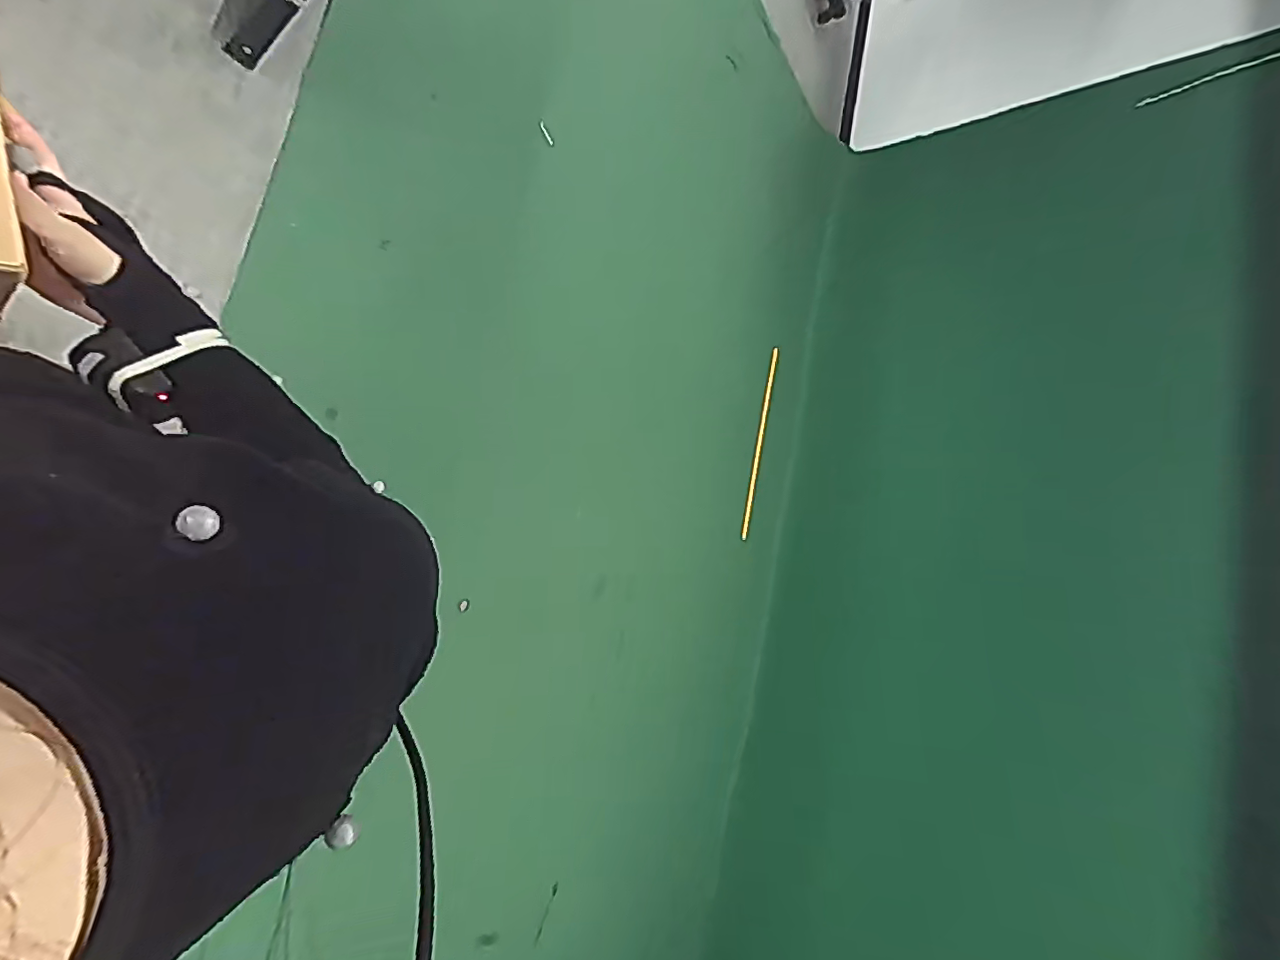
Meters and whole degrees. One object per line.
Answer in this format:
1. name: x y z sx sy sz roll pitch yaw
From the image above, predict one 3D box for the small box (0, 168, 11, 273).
1. small box: -0.476 -0.203 0.280 0.168 0.176 0.179 -10 98 -56
